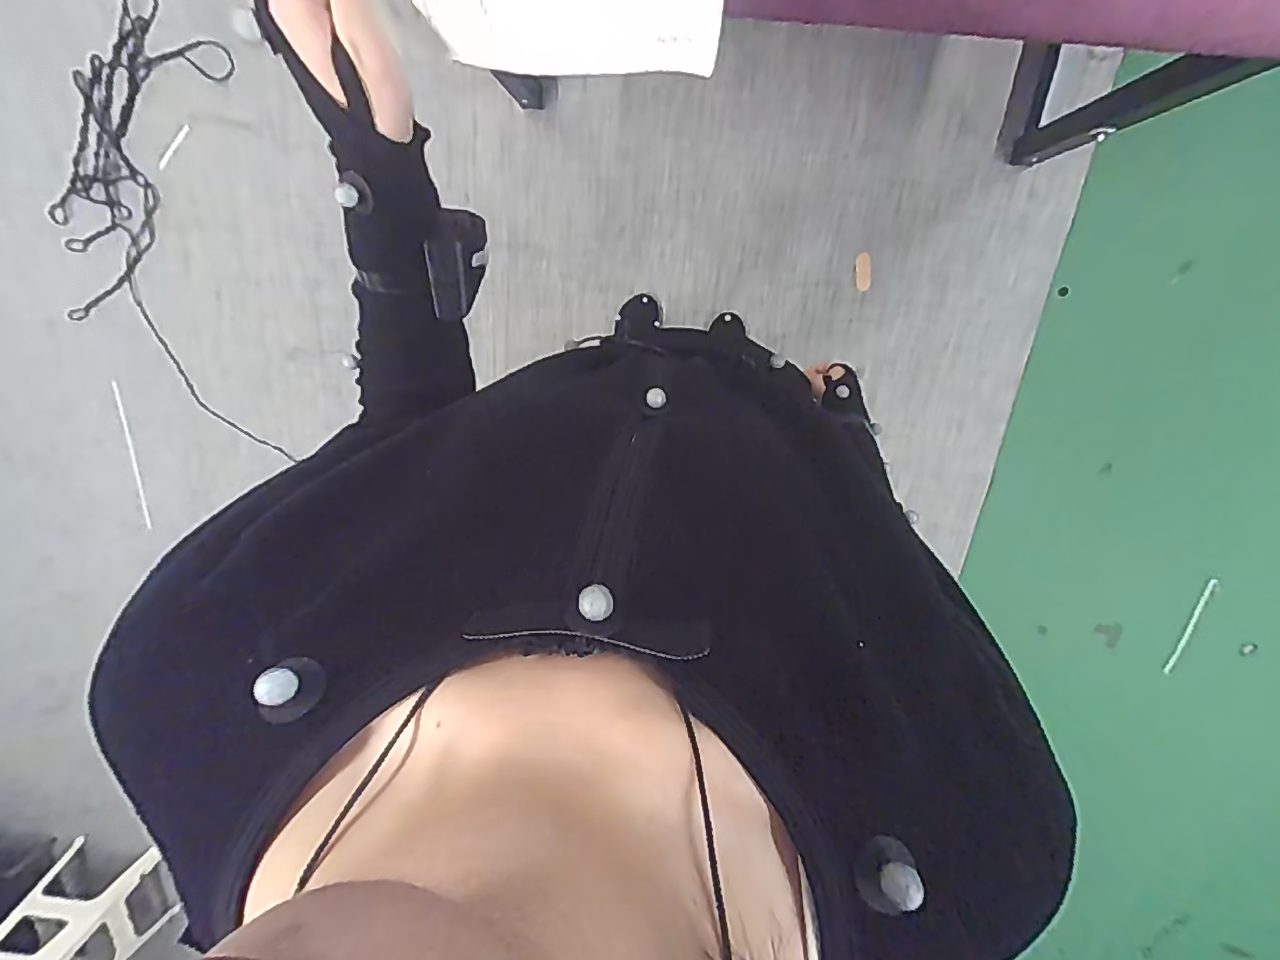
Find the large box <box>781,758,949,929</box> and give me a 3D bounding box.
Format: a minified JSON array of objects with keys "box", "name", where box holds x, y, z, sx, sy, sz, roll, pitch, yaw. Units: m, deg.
[{"box":[0.677,1.112,1.673,0.408,0.320,0.320,-7,108,7],"name":"large box"}]
